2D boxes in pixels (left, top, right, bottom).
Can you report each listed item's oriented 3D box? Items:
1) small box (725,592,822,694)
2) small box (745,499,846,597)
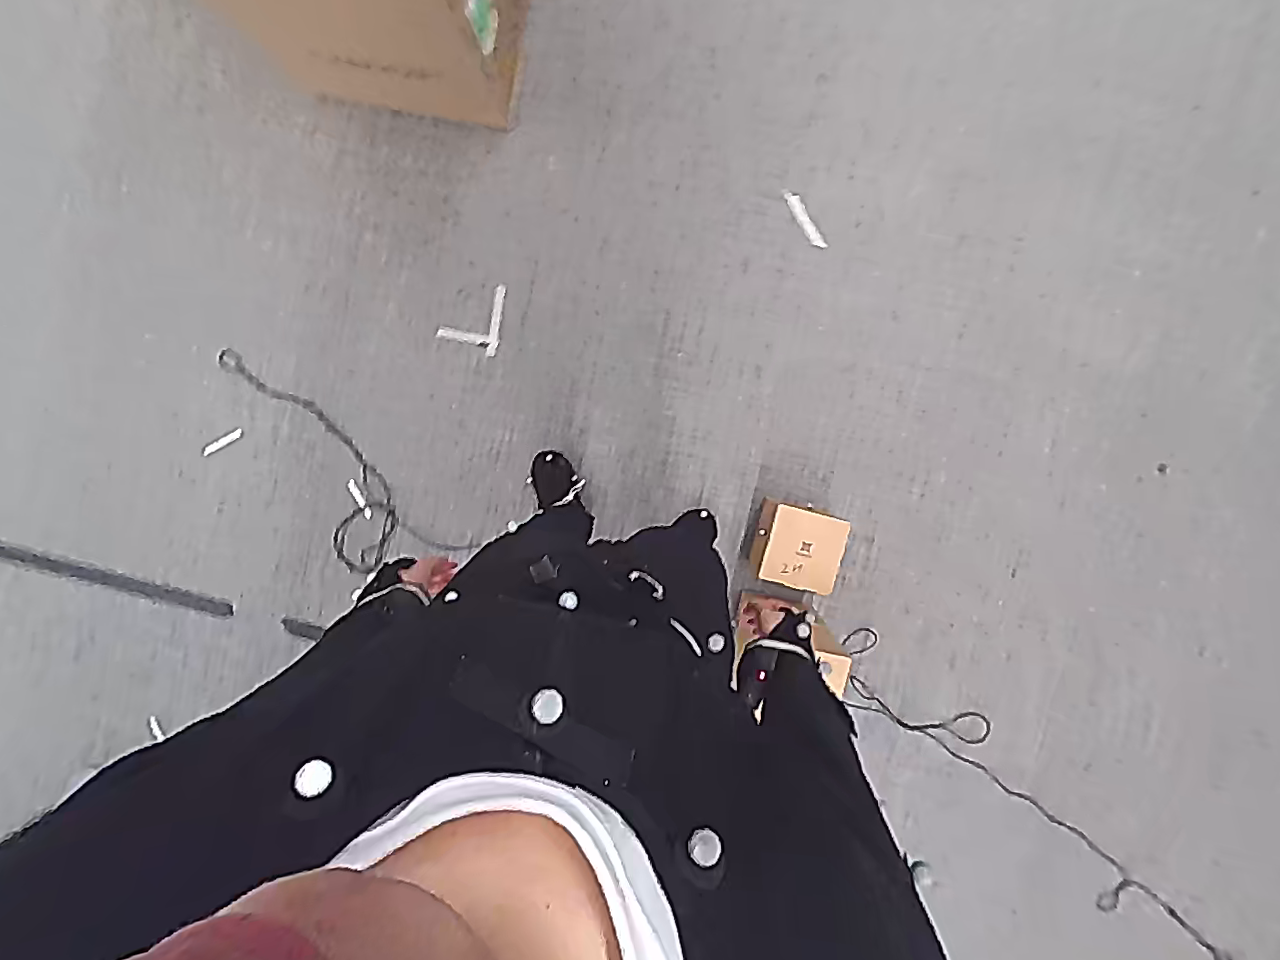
[{"bbox_3d":[0.311,0.380,1.293,0.179,0.176,0.168,12,95,3],"label":"small box"},{"bbox_3d":[0.356,0.151,1.273,0.168,0.176,0.179,16,94,2],"label":"small box"}]
